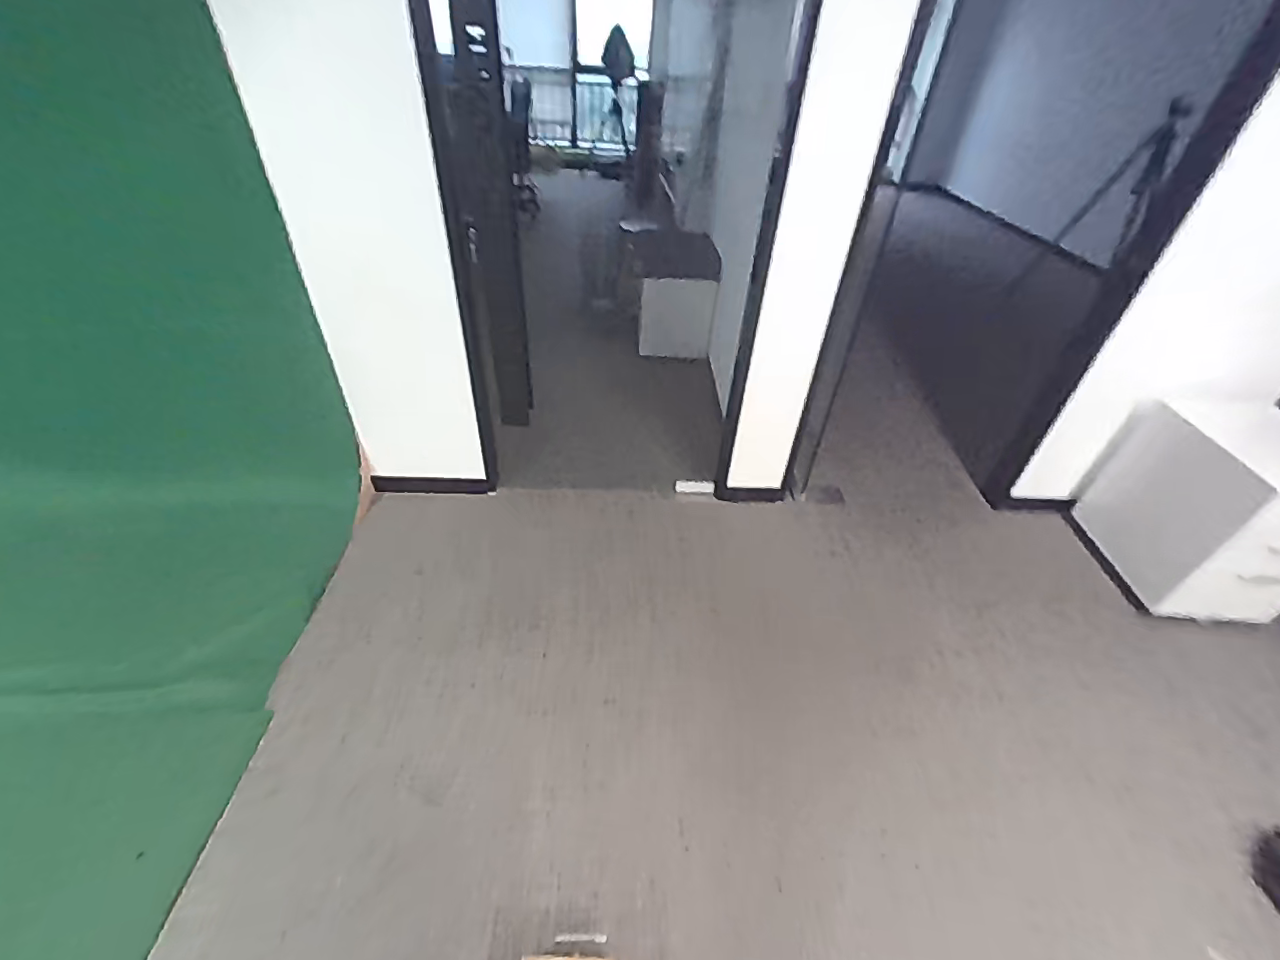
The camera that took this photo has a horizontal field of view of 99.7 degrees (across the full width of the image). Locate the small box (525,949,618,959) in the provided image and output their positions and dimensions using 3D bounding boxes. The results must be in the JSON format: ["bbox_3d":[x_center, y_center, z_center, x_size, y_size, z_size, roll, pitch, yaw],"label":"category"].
[{"bbox_3d":[-0.133,1.000,1.005,0.179,0.176,0.168,2,39,0],"label":"small box"}]
